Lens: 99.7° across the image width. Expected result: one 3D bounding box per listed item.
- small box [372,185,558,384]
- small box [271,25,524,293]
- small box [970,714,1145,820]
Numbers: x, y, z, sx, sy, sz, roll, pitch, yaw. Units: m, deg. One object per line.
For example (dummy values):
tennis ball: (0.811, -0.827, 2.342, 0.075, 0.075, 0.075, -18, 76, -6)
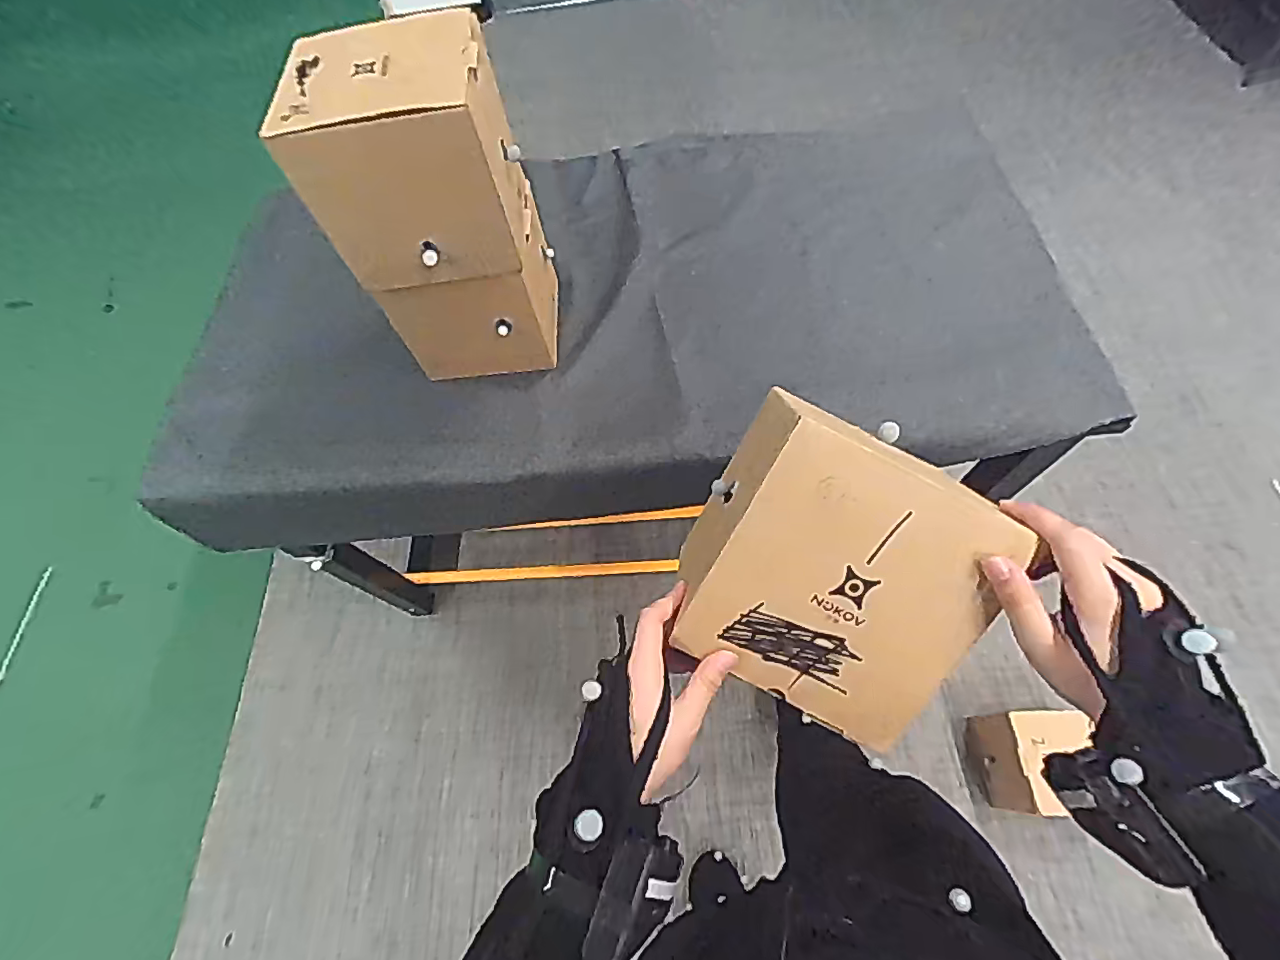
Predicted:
small box: (-0.207, -0.244, 0.699, 0.179, 0.176, 0.168, -6, 60, 3)
small box: (-0.221, -0.317, 0.552, 0.179, 0.176, 0.168, -8, 60, 1)
small box: (0.764, 0.535, 1.014, 0.179, 0.176, 0.168, -4, 61, 4)
